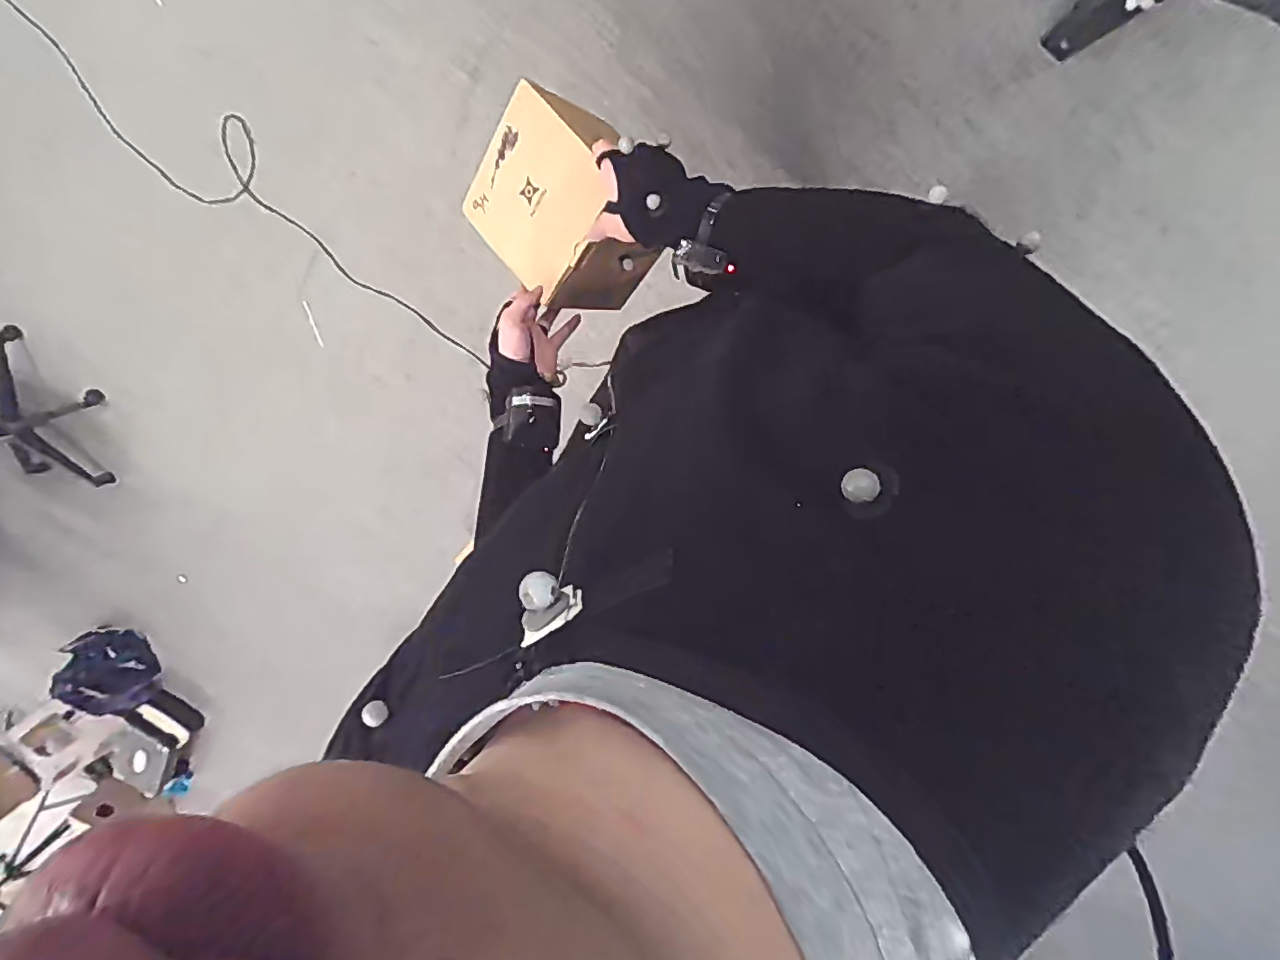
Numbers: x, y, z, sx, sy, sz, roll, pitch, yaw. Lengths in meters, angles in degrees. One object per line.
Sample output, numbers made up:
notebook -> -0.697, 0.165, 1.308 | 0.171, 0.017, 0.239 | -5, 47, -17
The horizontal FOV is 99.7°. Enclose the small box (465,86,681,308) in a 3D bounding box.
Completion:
small box -> -0.079, -0.342, 0.688 | 0.179, 0.176, 0.168 | 51, 124, 10
